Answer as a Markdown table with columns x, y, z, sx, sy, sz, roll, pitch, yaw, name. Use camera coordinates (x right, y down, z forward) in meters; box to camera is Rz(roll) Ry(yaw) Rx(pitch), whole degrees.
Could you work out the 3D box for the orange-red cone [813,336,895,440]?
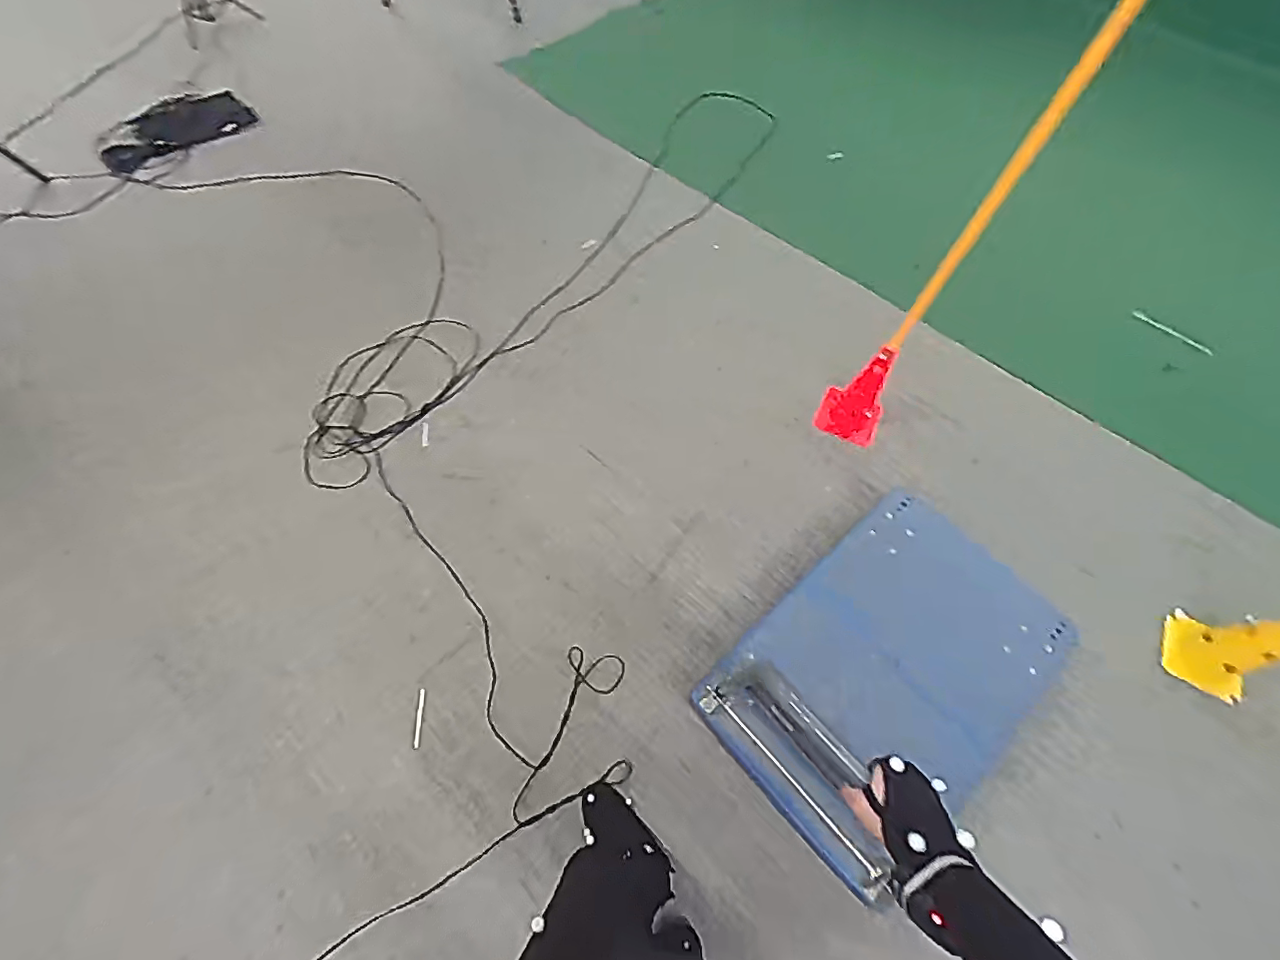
| x | y | z | sx | sy | sz | roll | pitch | yaw | name |
| --- | --- | --- | --- | --- | --- | --- | --- | --- | --- |
| 0.725 | -0.325 | 1.740 | 0.199 | 0.360 | 0.198 | 25 | 64 | 13 | orange-red cone |
